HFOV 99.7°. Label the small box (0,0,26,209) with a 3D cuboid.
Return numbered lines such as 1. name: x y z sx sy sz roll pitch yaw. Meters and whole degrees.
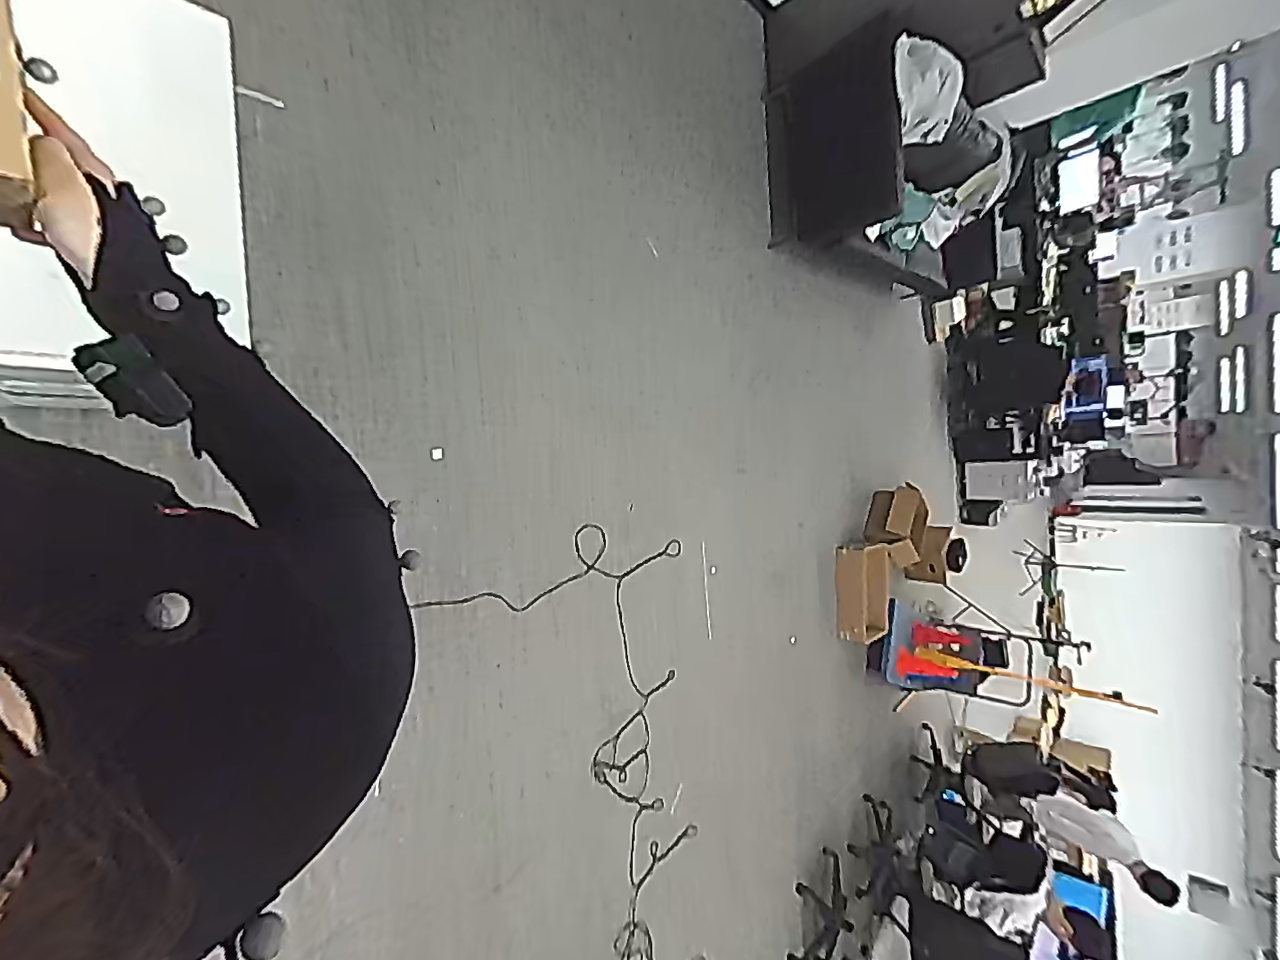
1. small box: -0.439 -0.248 0.260 0.179 0.176 0.168 -8 104 -47
